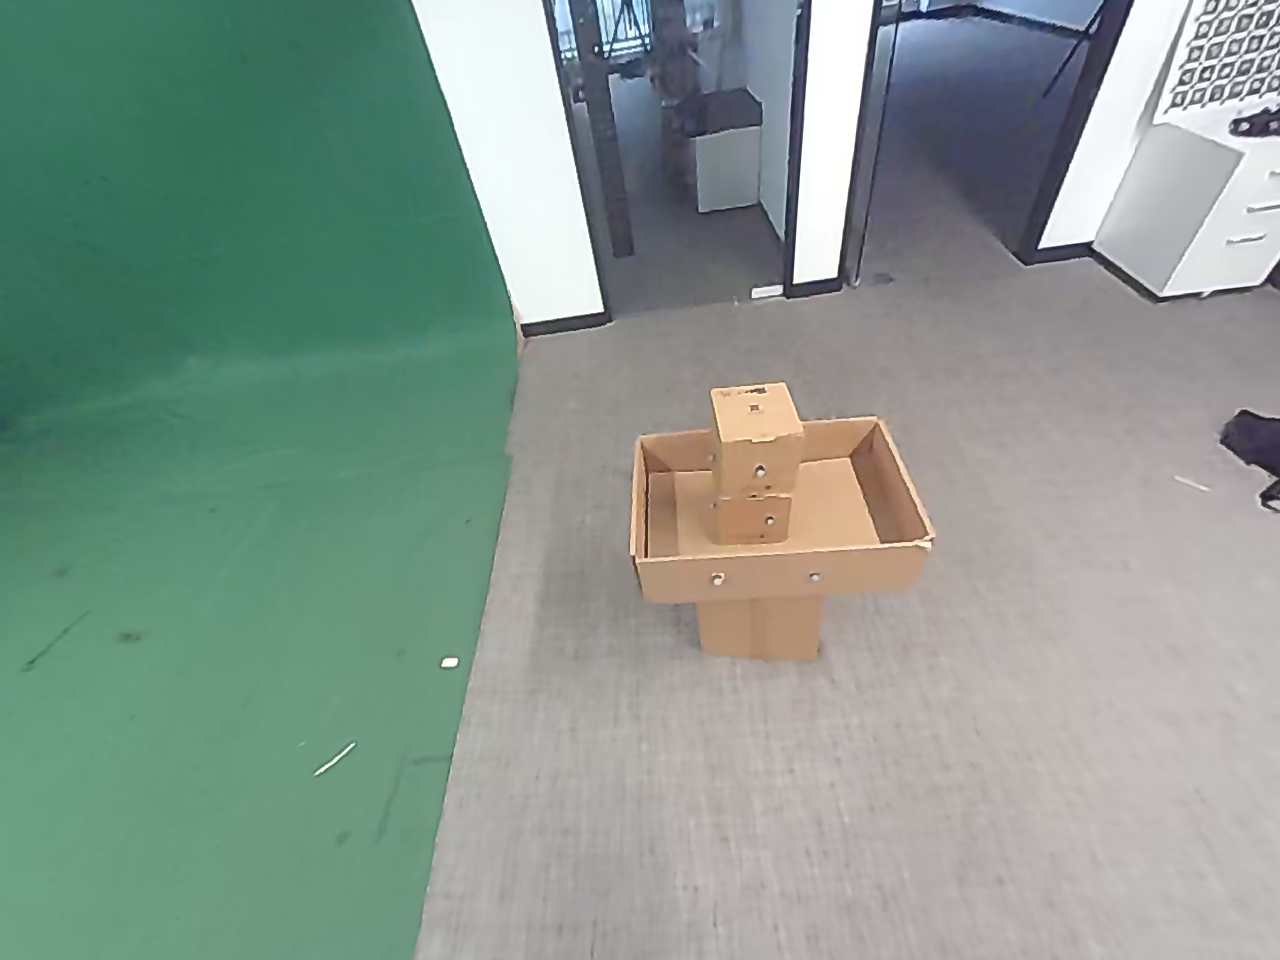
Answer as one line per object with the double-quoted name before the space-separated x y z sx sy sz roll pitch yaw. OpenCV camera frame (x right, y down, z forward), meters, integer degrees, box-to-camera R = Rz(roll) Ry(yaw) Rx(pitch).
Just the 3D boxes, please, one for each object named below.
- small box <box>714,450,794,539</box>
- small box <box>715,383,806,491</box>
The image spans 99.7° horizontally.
"small box" 0.266 0.030 1.295 0.168 0.176 0.179 -2 44 4
"small box" 0.254 -0.088 1.182 0.168 0.176 0.179 -4 47 3
